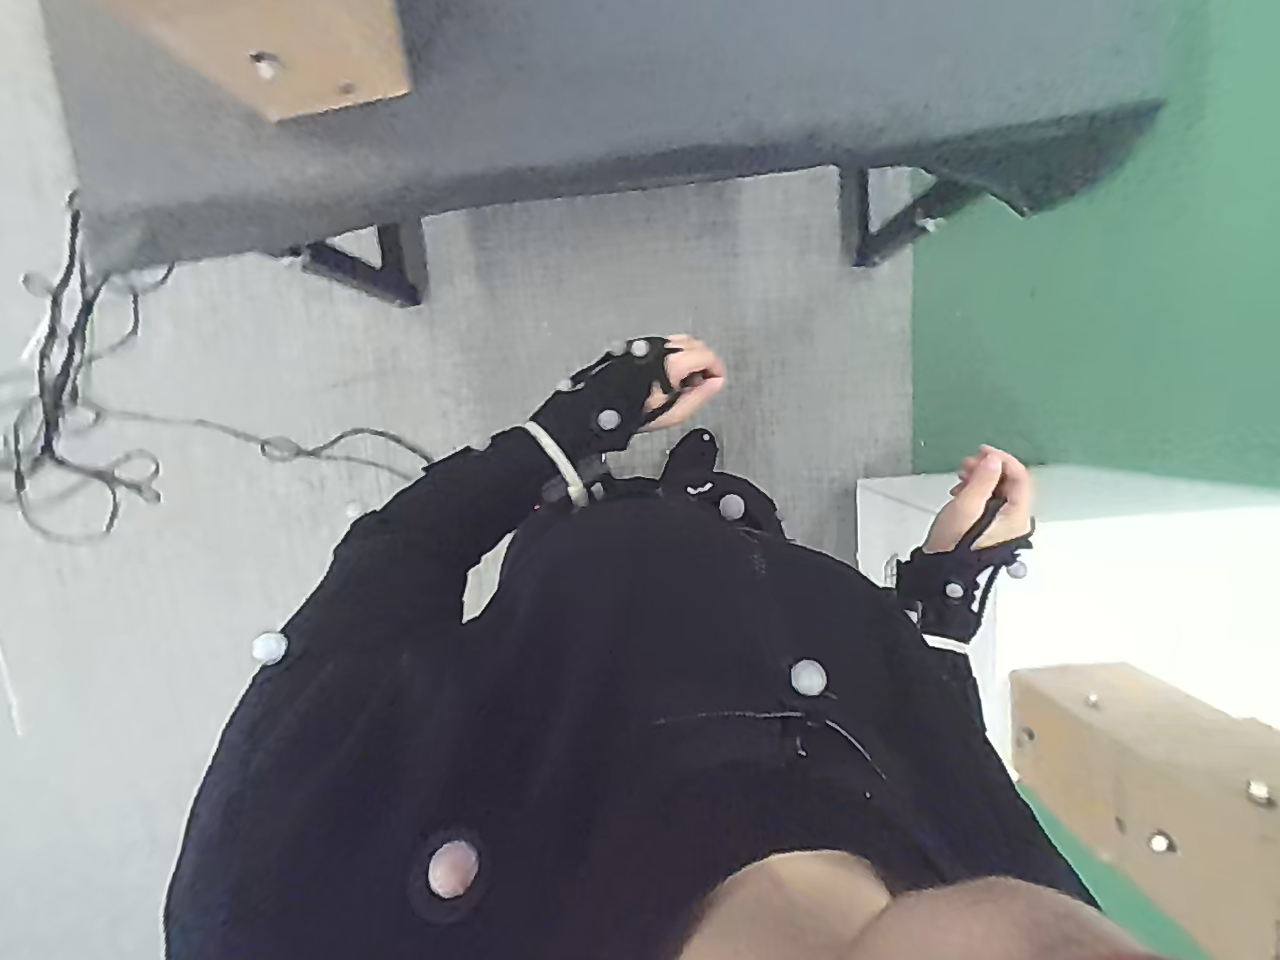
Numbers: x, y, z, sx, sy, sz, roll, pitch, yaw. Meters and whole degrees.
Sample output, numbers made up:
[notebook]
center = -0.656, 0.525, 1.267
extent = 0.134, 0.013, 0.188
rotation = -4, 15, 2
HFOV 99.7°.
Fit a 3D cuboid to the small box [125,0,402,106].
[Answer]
[small box]
center = -0.348, -0.486, 0.505
extent = 0.168, 0.176, 0.179
rotation = -9, 96, 2
